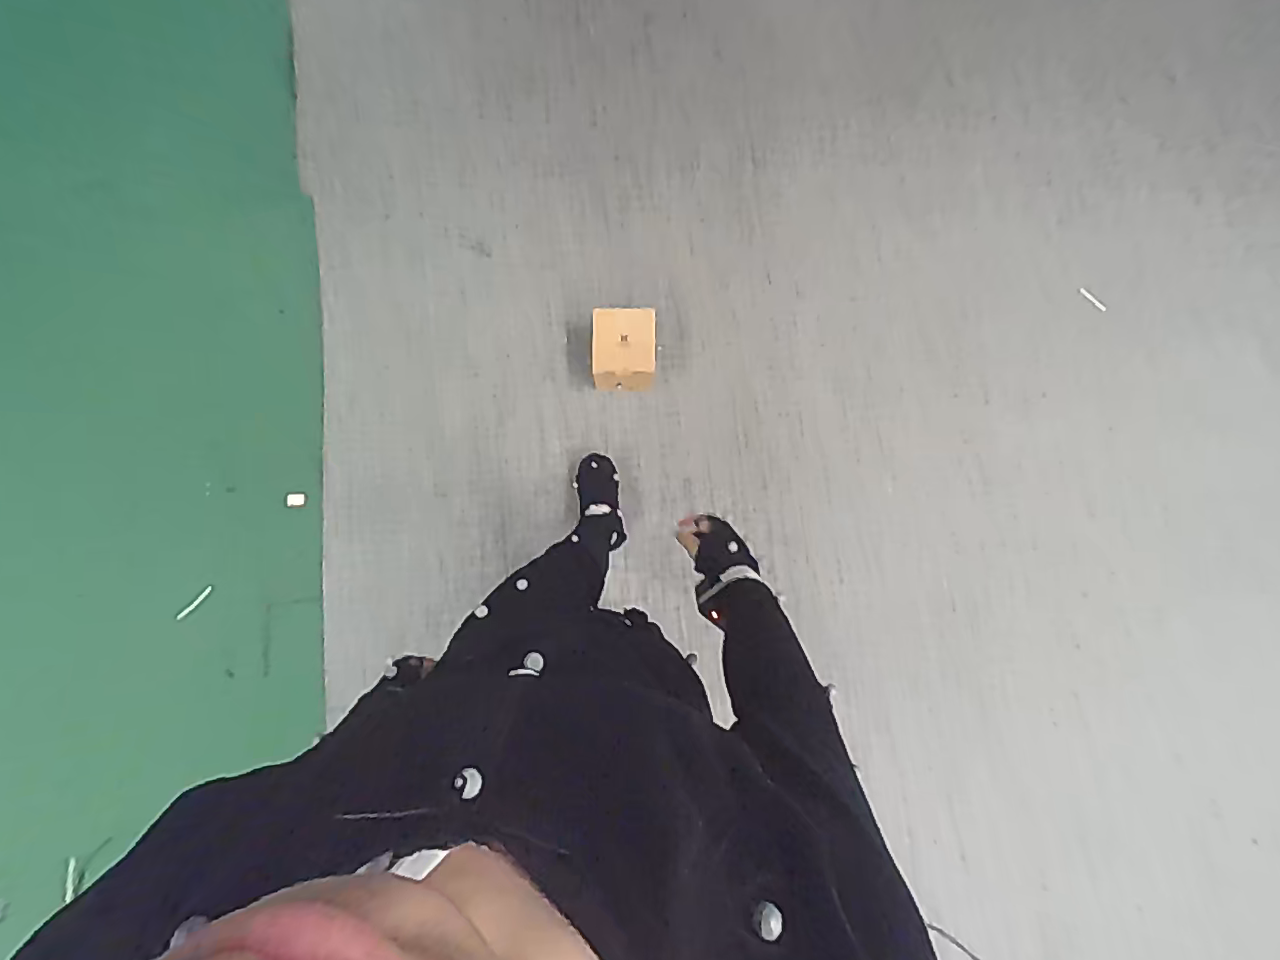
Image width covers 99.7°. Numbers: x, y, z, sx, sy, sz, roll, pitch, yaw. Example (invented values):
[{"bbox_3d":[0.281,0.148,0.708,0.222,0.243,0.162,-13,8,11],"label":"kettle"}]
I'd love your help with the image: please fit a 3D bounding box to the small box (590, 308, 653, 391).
[{"bbox_3d":[-0.053,-0.356,1.492,0.168,0.176,0.179,0,83,-2],"label":"small box"}]
